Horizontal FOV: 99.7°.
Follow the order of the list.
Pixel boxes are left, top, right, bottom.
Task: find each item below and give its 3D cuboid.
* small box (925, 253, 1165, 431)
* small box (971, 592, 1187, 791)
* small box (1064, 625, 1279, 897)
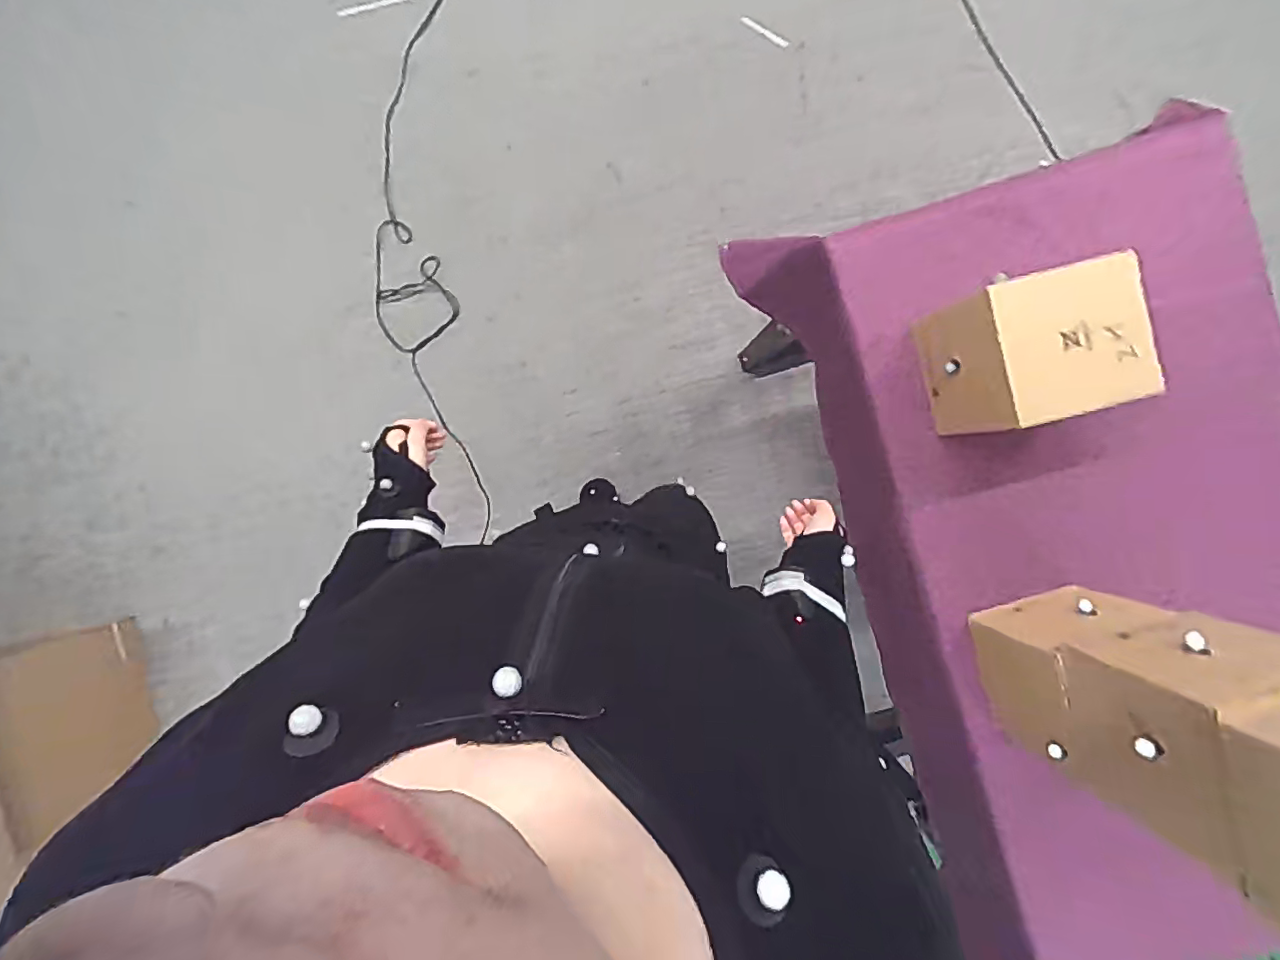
[{"bbox_3d":[0.491,-0.161,0.687,0.179,0.176,0.168,-14,93,-1],"label":"small box"},{"bbox_3d":[0.574,0.258,0.711,0.168,0.176,0.179,-15,93,-1],"label":"small box"},{"bbox_3d":[0.576,0.259,0.546,0.168,0.176,0.179,-11,93,-1],"label":"small box"}]
